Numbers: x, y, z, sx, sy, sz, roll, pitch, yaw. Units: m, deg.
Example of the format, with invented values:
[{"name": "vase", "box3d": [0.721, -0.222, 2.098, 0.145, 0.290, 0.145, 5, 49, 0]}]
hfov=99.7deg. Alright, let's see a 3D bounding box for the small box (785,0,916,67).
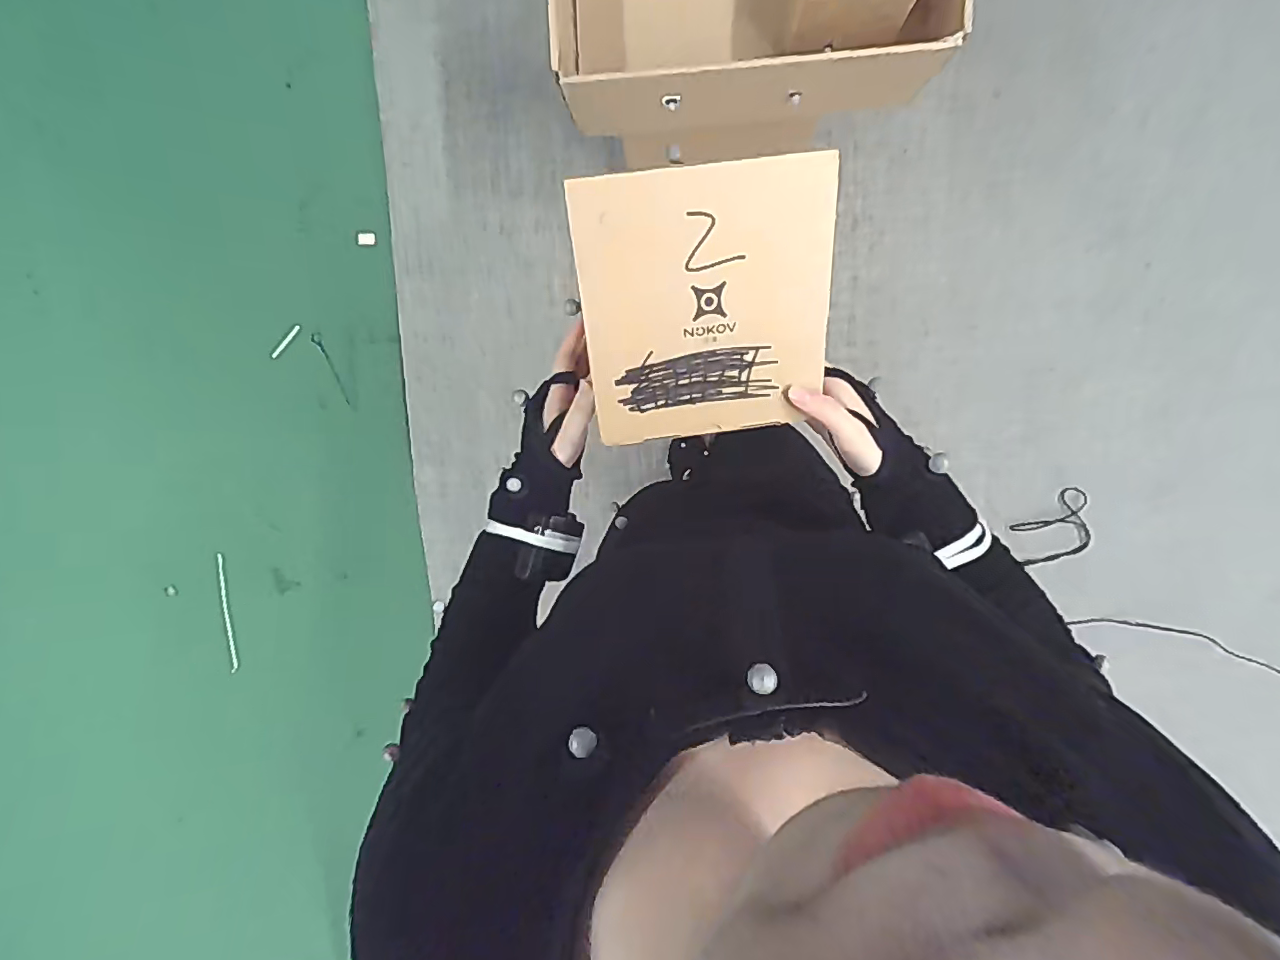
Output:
[{"name": "small box", "box3d": [0.322, -0.777, 0.821, 0.168, 0.176, 0.179, 4, 96, 5]}]
